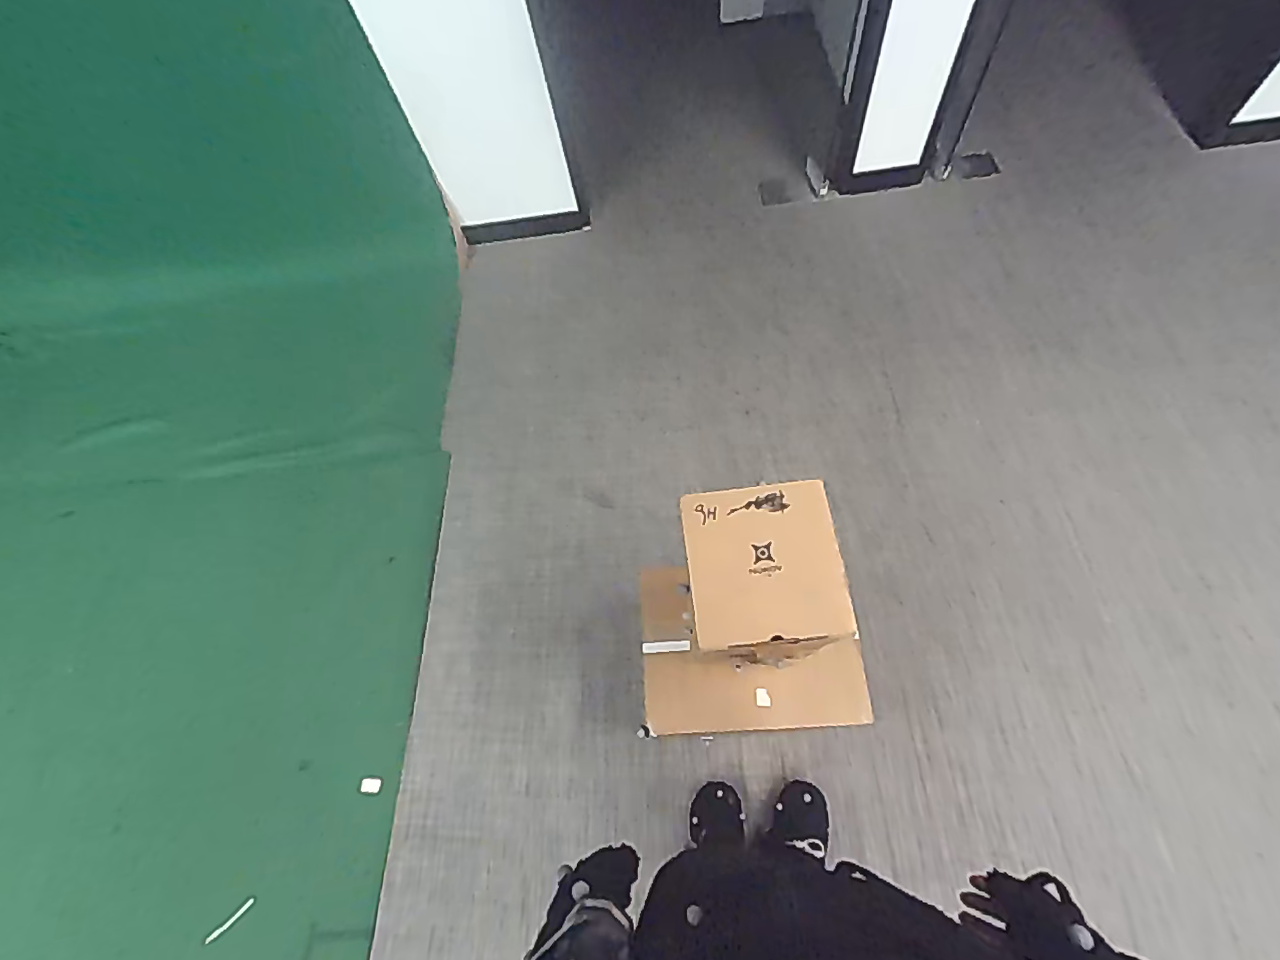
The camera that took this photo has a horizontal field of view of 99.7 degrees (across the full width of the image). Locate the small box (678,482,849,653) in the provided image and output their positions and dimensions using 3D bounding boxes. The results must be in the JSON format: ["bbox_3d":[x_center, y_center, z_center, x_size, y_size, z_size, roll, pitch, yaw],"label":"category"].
[{"bbox_3d":[0.141,0.118,0.670,0.168,0.176,0.179,-7,69,3],"label":"small box"}]

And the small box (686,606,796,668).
[{"bbox_3d":[0.175,0.242,0.967,0.179,0.176,0.168,1,68,8],"label":"small box"}]

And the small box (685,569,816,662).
[{"bbox_3d":[0.156,0.180,0.821,0.168,0.176,0.179,-6,67,4],"label":"small box"}]
